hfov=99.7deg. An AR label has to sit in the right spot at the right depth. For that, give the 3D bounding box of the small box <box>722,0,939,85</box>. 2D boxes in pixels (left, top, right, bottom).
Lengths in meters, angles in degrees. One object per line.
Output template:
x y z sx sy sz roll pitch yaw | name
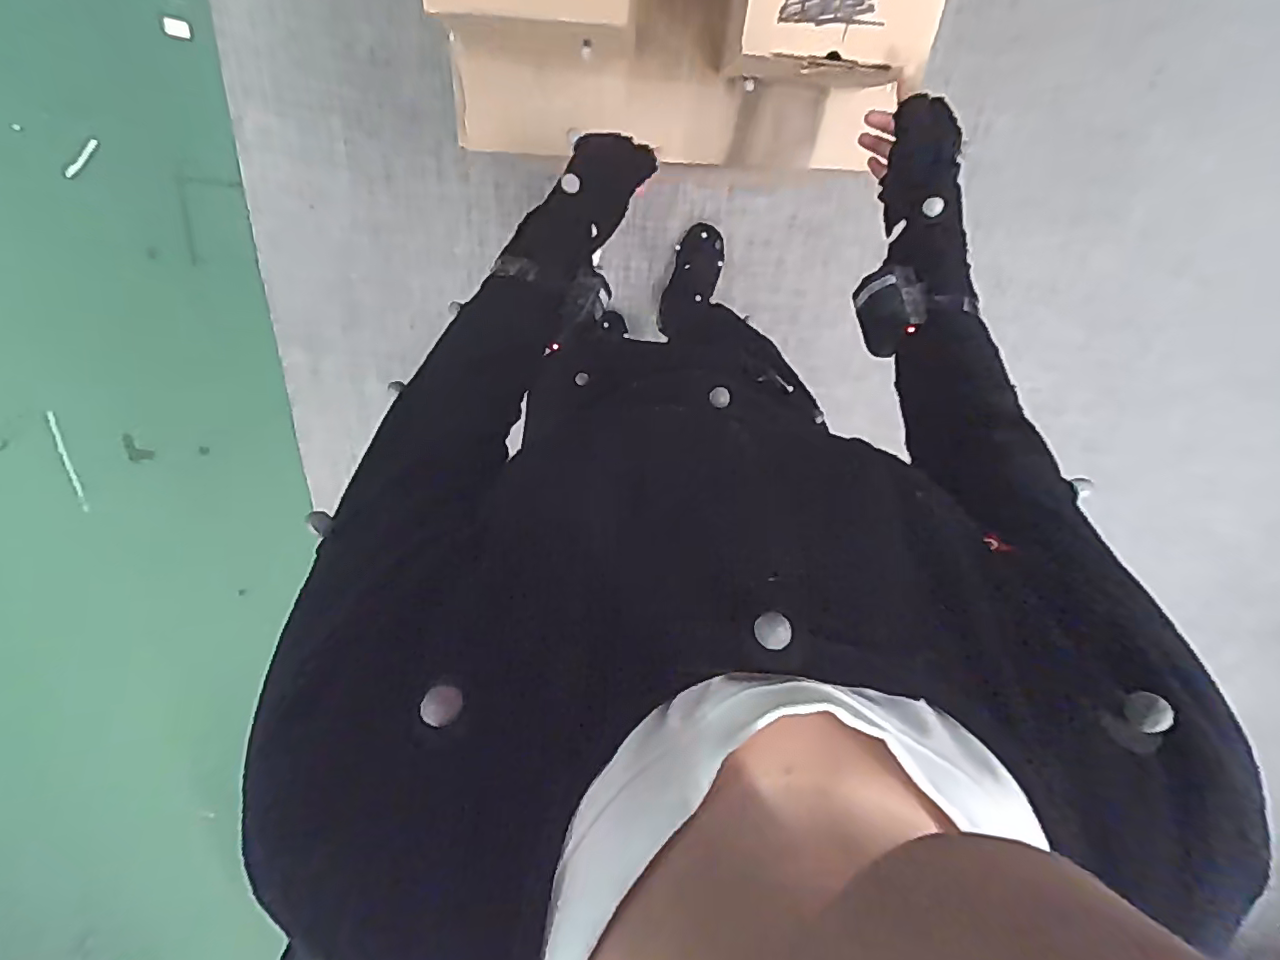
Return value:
0.175 -0.483 0.496 0.168 0.176 0.179 5 120 -2 | small box

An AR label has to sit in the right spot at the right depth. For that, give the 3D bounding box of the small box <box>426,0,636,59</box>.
-0.090 -0.504 0.493 0.179 0.176 0.168 3 119 1 | small box
